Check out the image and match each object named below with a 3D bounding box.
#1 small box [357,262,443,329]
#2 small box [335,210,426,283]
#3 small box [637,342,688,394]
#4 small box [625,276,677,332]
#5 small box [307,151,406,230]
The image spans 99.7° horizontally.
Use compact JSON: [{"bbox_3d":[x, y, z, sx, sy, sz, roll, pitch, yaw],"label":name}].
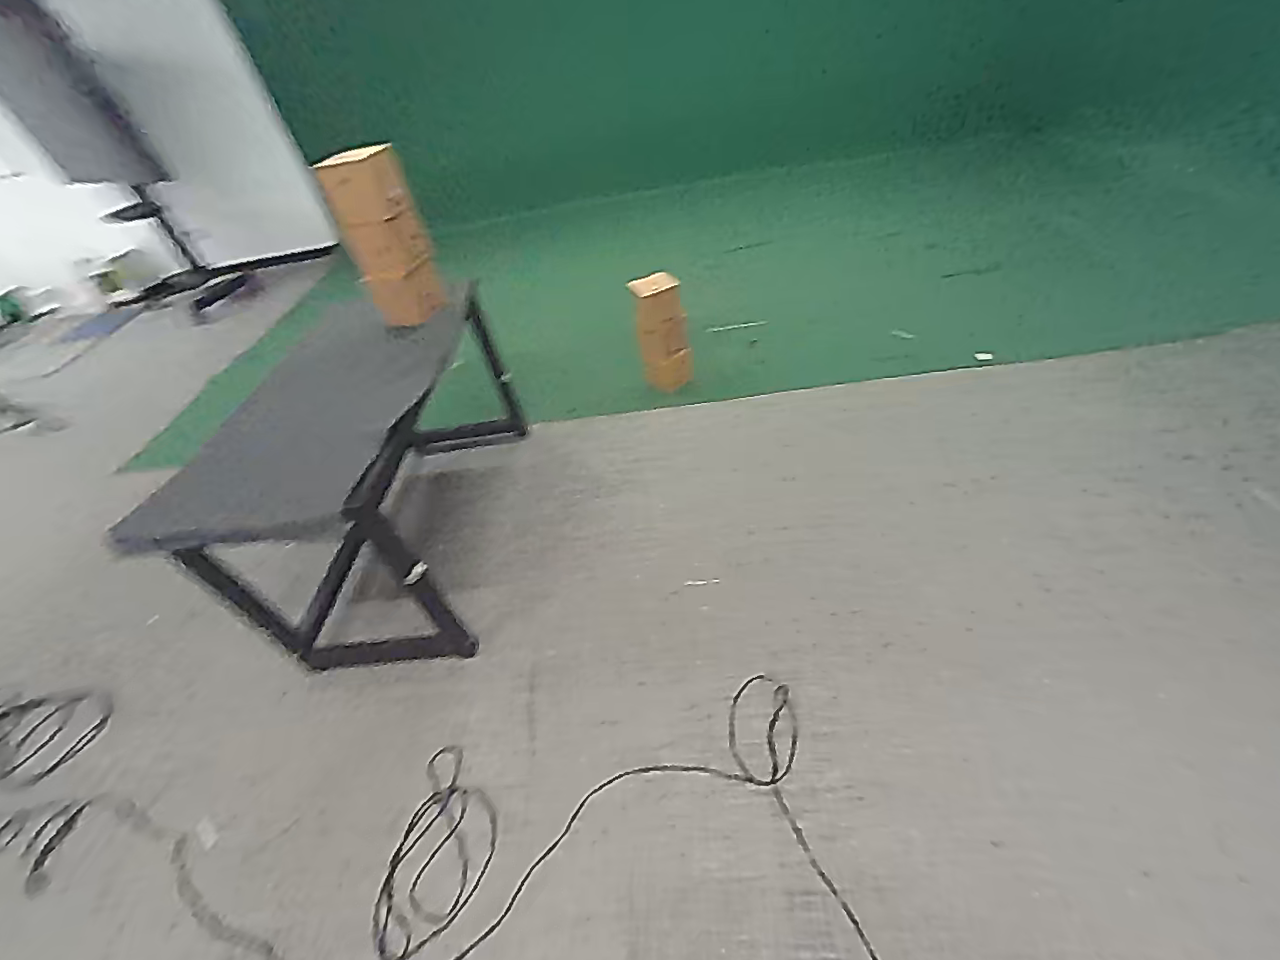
[{"bbox_3d":[-0.820,-0.634,1.869,0.179,0.176,0.168,6,46,22],"label":"small box"},{"bbox_3d":[-0.839,-0.764,1.771,0.179,0.176,0.168,2,44,19],"label":"small box"},{"bbox_3d":[0.113,-0.536,2.619,0.168,0.176,0.179,-39,48,-25],"label":"small box"},{"bbox_3d":[0.050,-0.783,2.410,0.168,0.176,0.179,-25,44,-11],"label":"small box"},{"bbox_3d":[-0.863,-0.887,1.665,0.179,0.176,0.168,-1,44,13],"label":"small box"}]
